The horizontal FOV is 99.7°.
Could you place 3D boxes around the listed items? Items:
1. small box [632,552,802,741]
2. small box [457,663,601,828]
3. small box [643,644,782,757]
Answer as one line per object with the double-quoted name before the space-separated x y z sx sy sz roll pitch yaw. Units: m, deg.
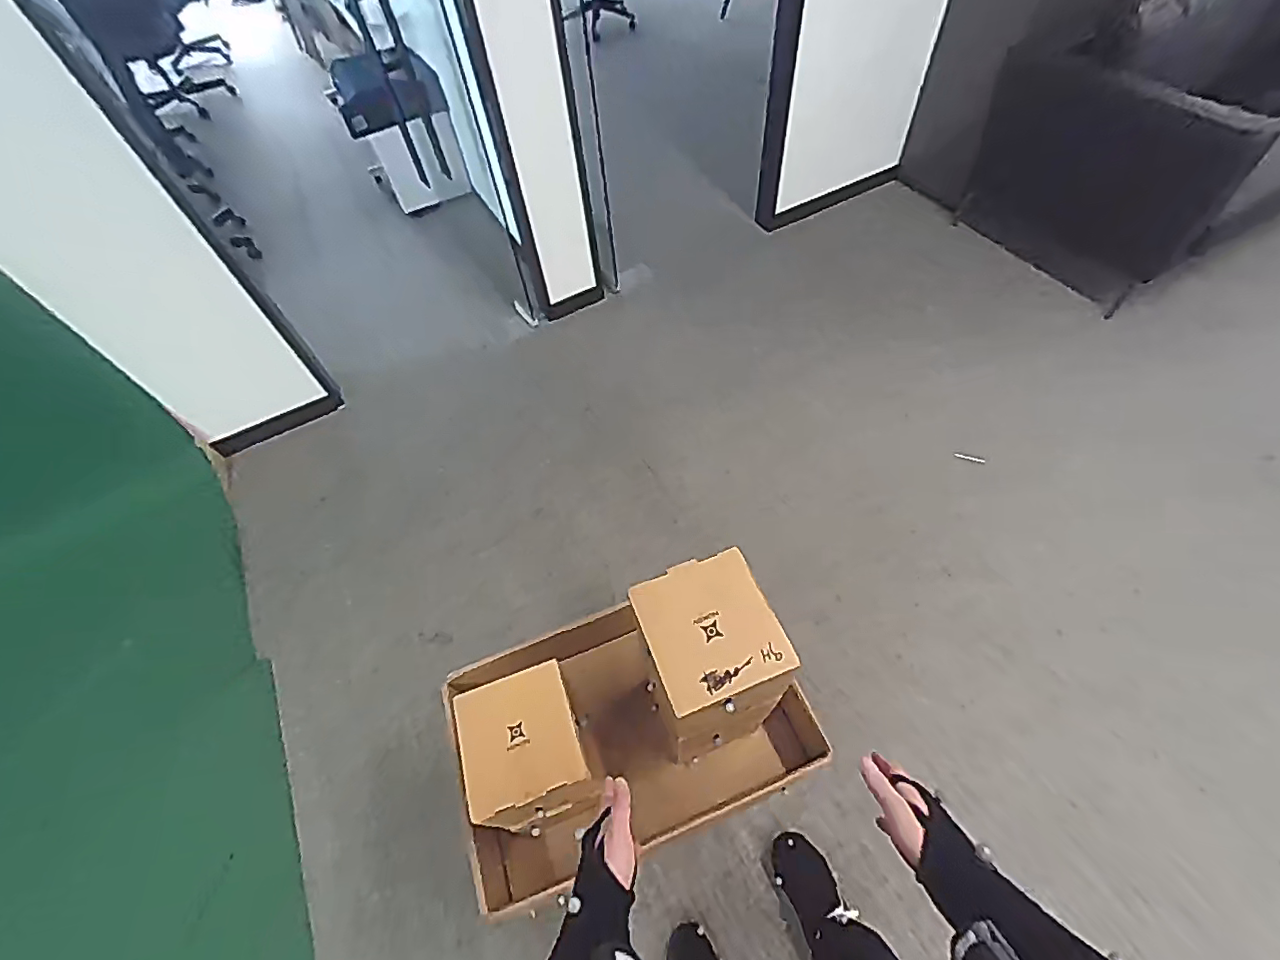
"small box" 0.097 0.234 0.749 0.168 0.176 0.179 -19 56 -7
"small box" -0.169 0.418 0.846 0.168 0.176 0.179 -18 56 -8
"small box" 0.108 0.326 0.883 0.168 0.176 0.179 -19 57 -7
